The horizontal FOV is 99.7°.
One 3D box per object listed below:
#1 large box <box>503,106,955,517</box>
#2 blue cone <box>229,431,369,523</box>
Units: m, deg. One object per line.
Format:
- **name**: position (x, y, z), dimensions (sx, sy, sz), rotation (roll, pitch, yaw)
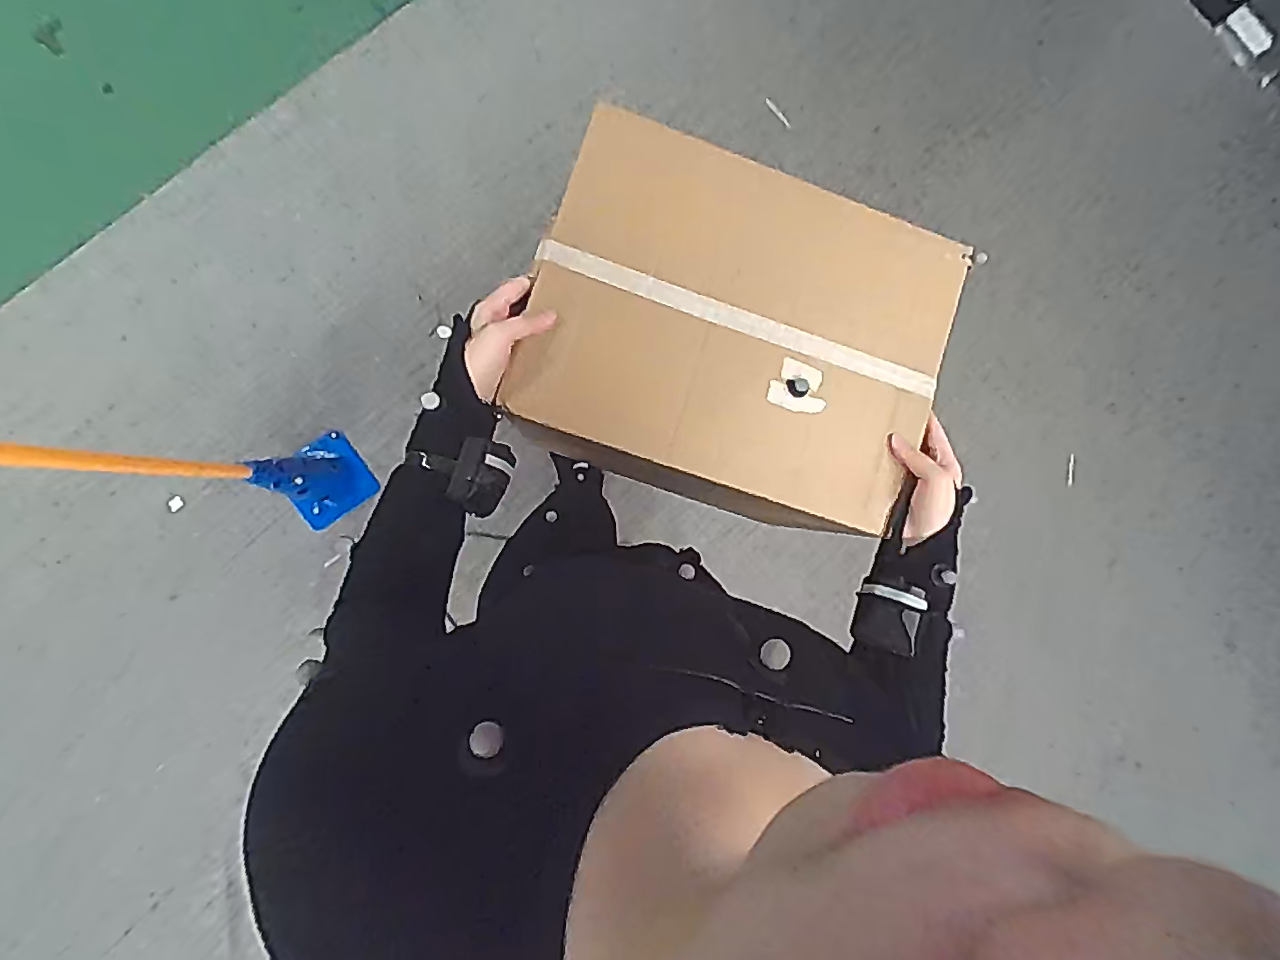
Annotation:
- **large box**: position (0.080, -0.156, 0.678), dimensions (0.408, 0.320, 0.320), rotation (18, 86, -6)
- **blue cone**: position (-0.795, -0.015, 1.226), dimensions (0.193, 0.380, 0.192), rotation (-34, 91, -8)
